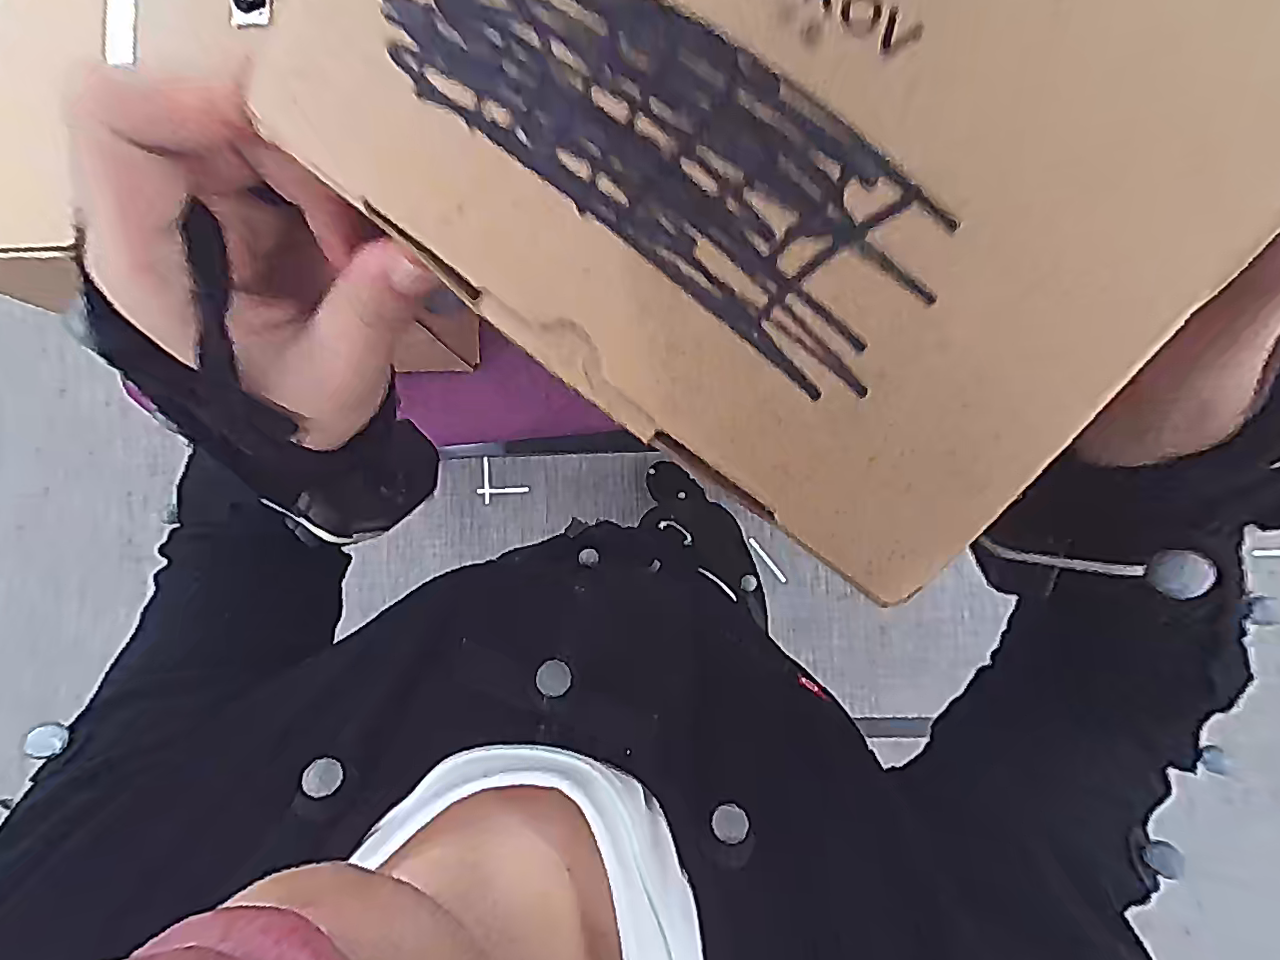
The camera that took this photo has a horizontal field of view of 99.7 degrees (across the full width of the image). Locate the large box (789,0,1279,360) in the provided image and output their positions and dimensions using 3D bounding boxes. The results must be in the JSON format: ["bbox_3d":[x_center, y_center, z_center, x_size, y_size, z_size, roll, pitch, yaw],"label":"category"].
[{"bbox_3d":[0.342,-0.362,0.522,0.320,0.320,0.408,-2,85,0],"label":"large box"}]

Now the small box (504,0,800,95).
[{"bbox_3d":[-0.001,-0.340,0.267,0.168,0.176,0.179,-7,86,0],"label":"small box"}]
